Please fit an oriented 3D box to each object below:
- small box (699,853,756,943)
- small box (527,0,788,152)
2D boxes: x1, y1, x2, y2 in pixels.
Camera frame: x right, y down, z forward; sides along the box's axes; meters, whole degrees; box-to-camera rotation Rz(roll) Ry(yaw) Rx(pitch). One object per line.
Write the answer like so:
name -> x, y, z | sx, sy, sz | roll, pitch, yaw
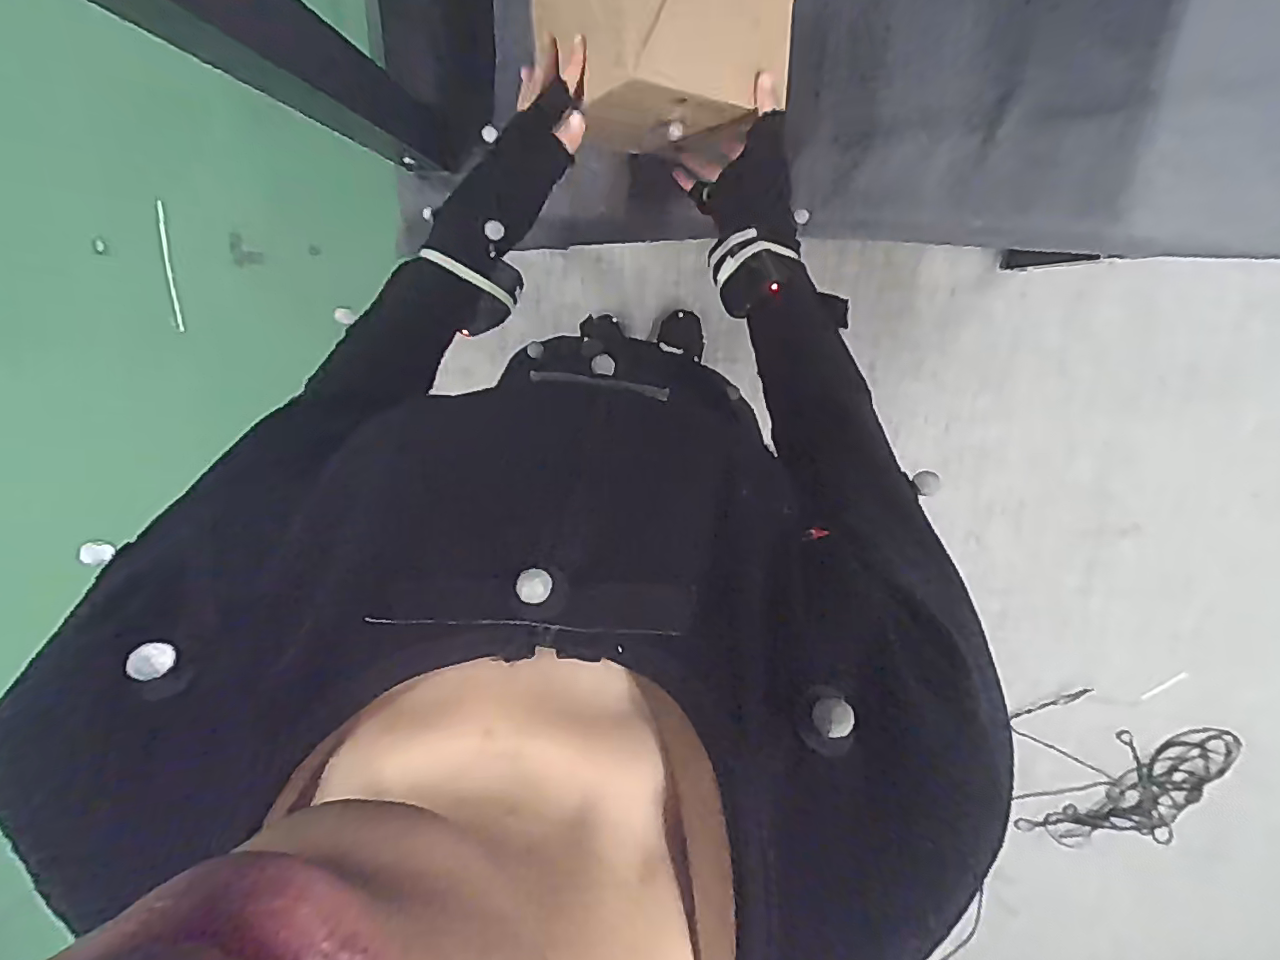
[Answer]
small box -> 0.294, 1.427, 1.852 | 0.168, 0.176, 0.179 | 5, 107, 1
small box -> 0.014, -0.408, 0.465 | 0.168, 0.176, 0.179 | -13, 112, -34
